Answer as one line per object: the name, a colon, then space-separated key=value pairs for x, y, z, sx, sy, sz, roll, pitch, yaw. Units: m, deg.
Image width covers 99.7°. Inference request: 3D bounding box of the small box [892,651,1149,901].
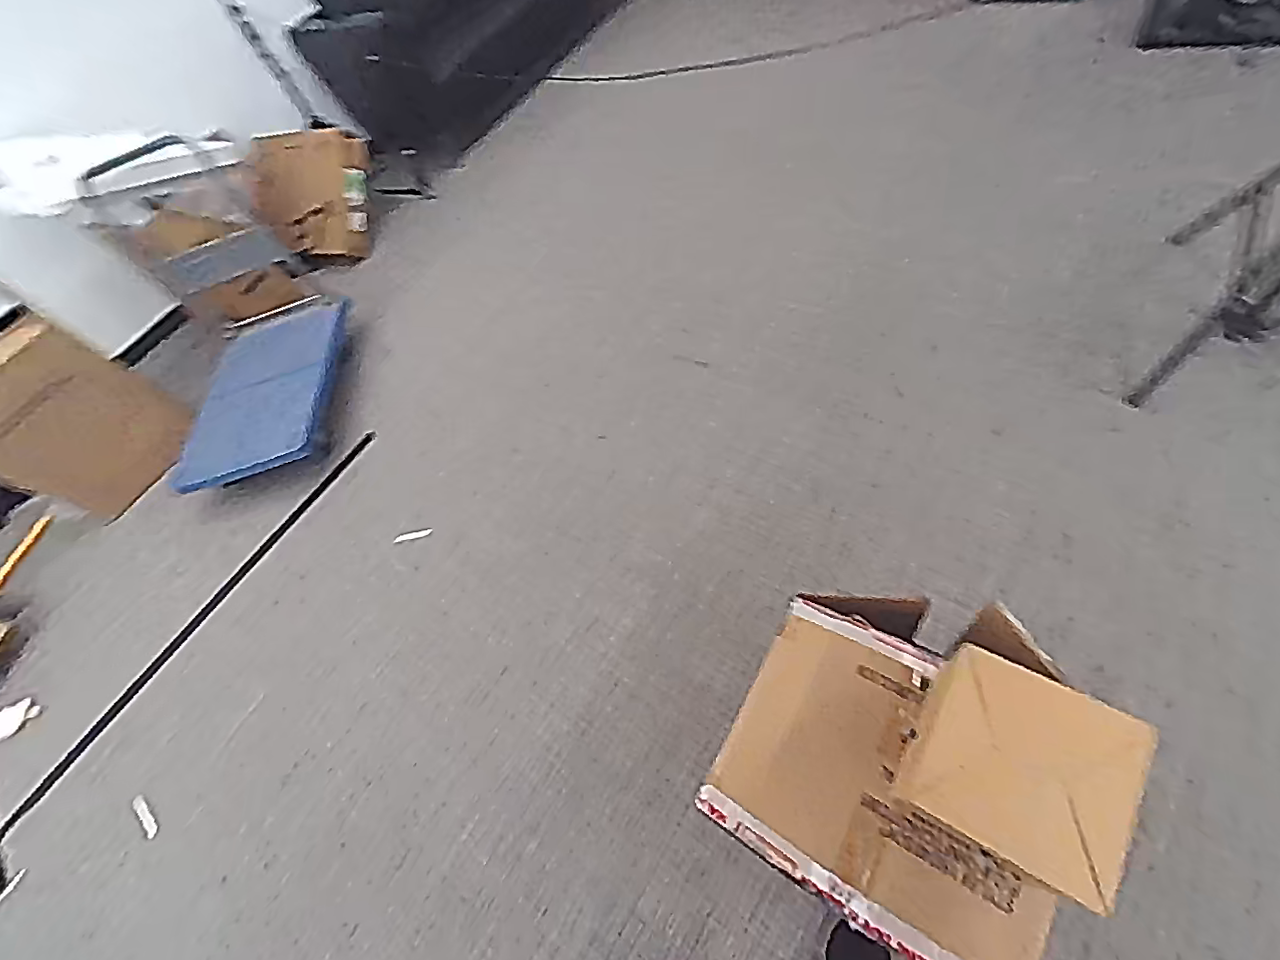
small box: x=0.394 y=0.312 z=0.585 sx=0.168 sy=0.176 sz=0.179 roll=24 pitch=71 yaw=27
